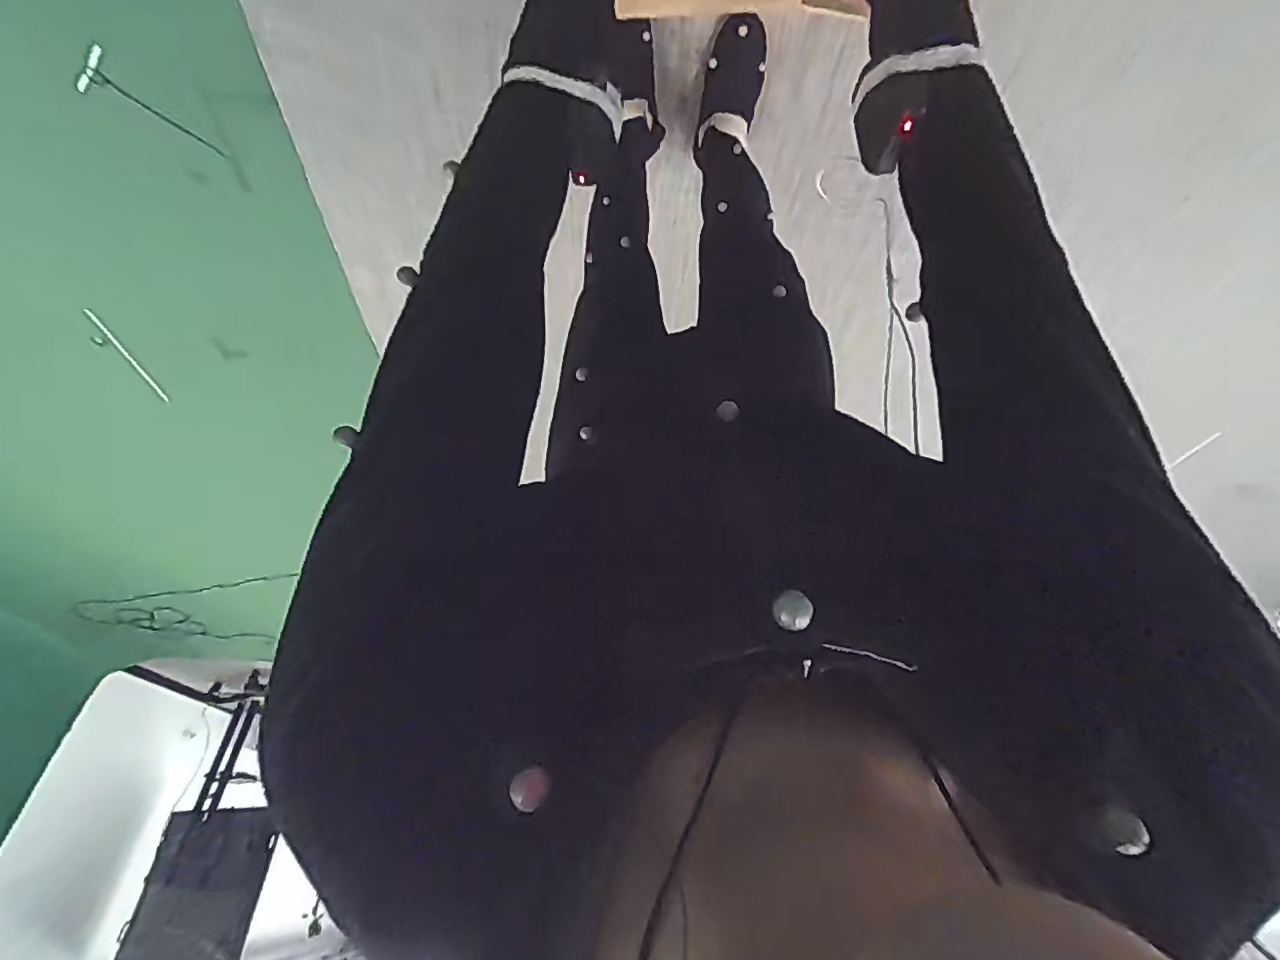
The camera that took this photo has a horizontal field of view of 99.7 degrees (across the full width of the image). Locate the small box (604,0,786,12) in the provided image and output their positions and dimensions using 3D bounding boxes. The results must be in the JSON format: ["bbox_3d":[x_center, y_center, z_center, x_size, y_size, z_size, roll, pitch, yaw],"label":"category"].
[{"bbox_3d":[0.048,-0.532,0.469,0.168,0.176,0.179,-2,134,1],"label":"small box"}]
